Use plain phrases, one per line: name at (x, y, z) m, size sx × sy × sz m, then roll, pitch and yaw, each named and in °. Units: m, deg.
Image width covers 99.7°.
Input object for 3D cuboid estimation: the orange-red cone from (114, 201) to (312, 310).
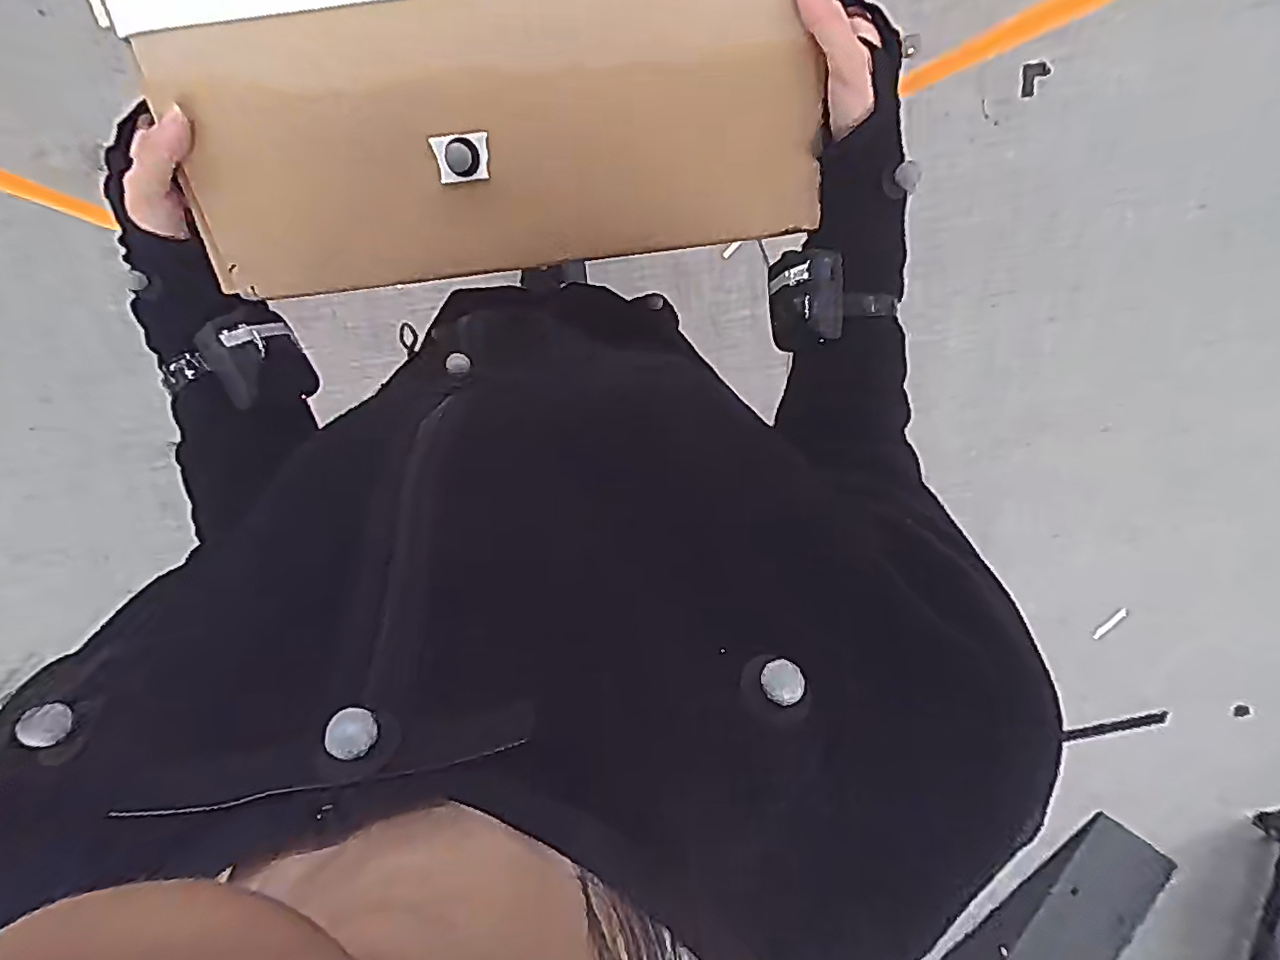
orange-red cone at (-0.842, -0.450, 1.038) m, size 0.199 × 0.360 × 0.198 m, roll -17°, pitch 106°, yaw 1°
